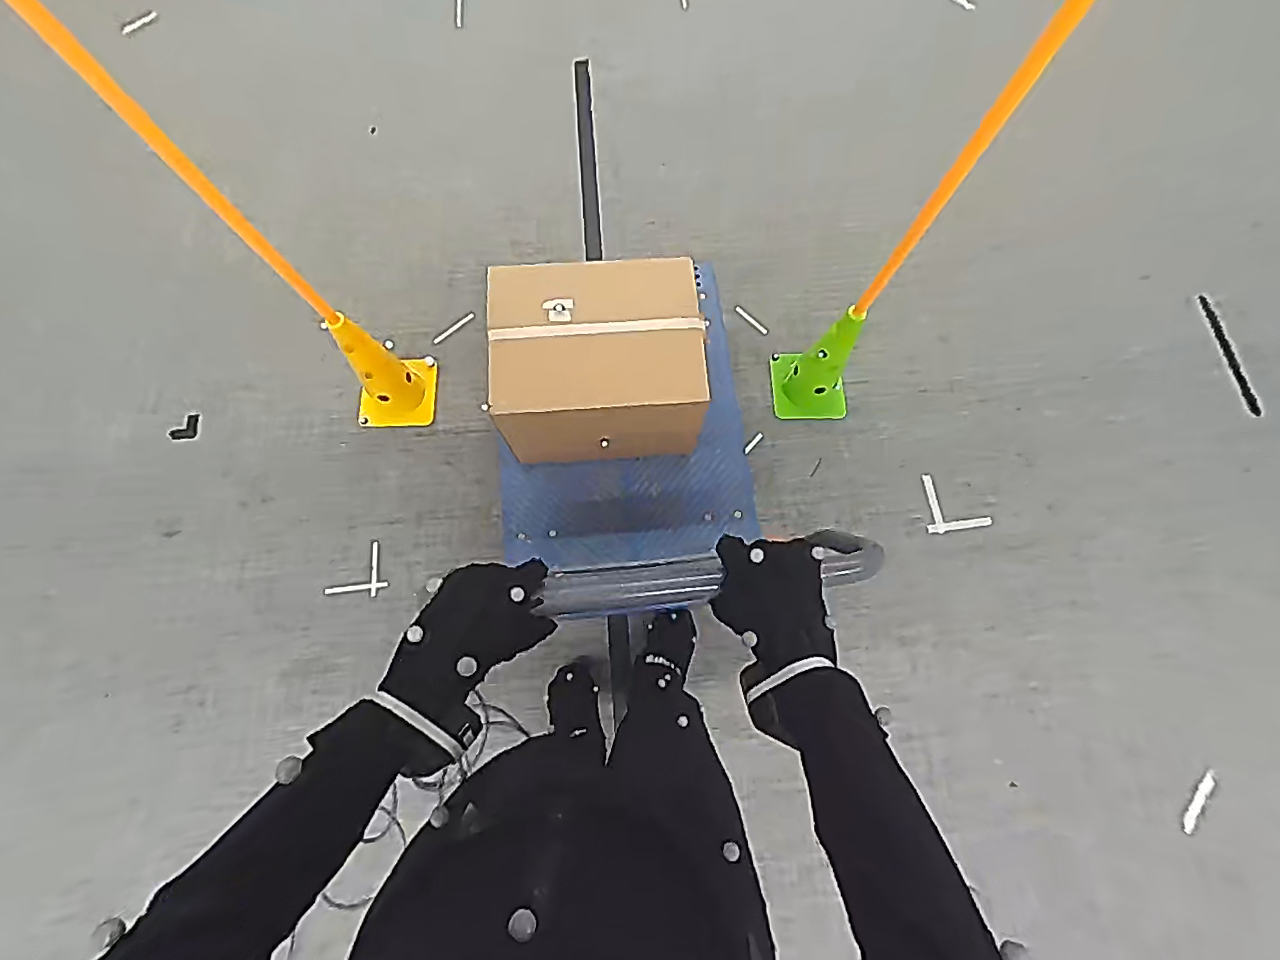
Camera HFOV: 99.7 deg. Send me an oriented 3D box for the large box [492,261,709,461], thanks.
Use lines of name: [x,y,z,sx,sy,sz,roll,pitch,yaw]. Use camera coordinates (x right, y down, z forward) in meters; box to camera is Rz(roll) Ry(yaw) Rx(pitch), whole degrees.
large box: [-0.081,-0.237,1.172,0.408,0.320,0.320,-4,75,-2]

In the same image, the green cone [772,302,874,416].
green cone: [0.482,-0.321,1.357,0.202,0.368,0.200,0,74,-3]
